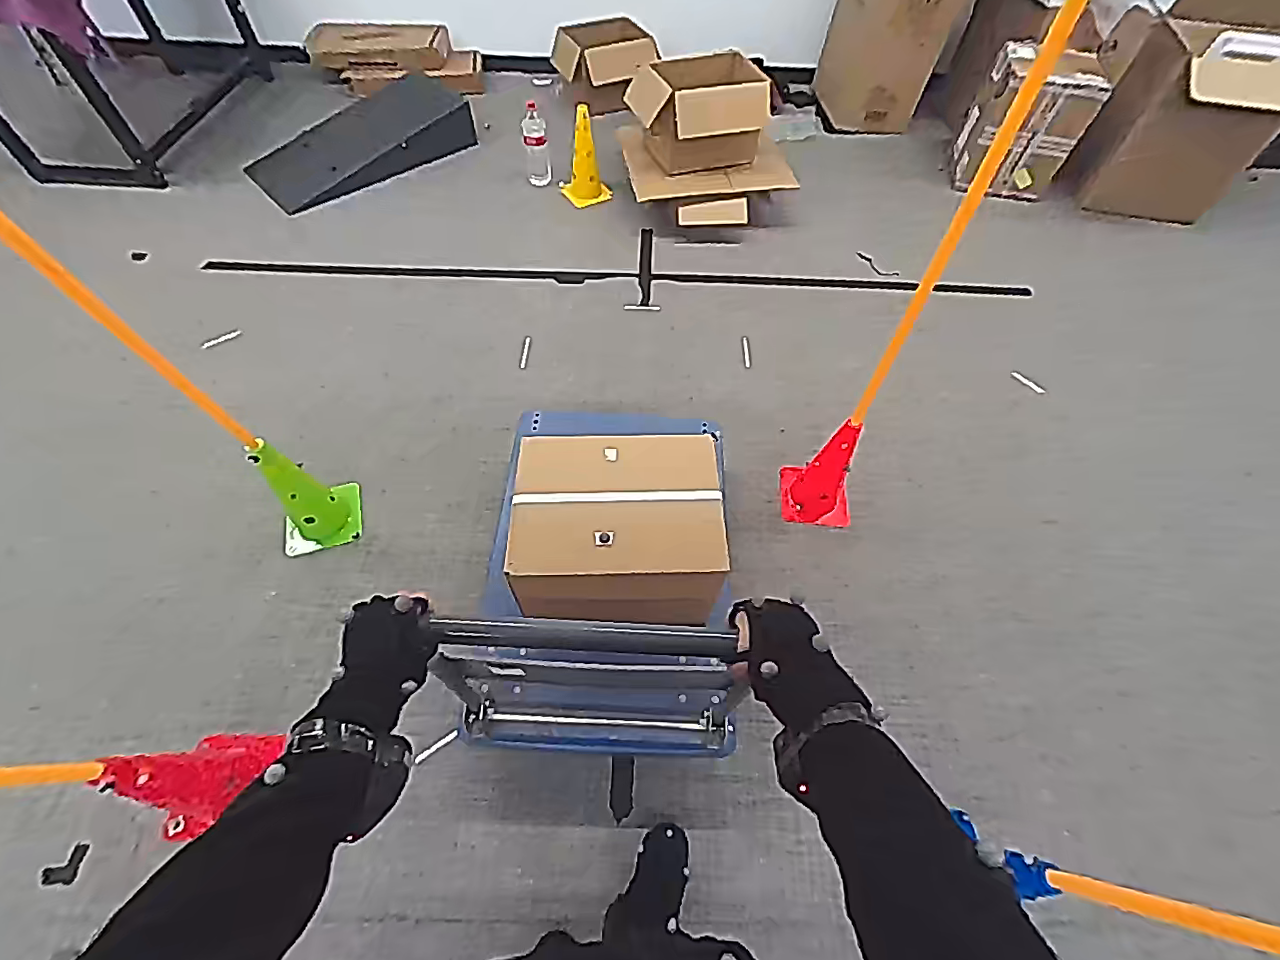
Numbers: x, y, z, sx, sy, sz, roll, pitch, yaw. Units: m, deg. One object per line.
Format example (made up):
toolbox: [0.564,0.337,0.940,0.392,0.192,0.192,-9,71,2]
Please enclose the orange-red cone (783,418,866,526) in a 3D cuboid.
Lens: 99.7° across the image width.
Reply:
orange-red cone: [0.542,-0.047,1.496,0.199,0.360,0.198,8,57,2]
